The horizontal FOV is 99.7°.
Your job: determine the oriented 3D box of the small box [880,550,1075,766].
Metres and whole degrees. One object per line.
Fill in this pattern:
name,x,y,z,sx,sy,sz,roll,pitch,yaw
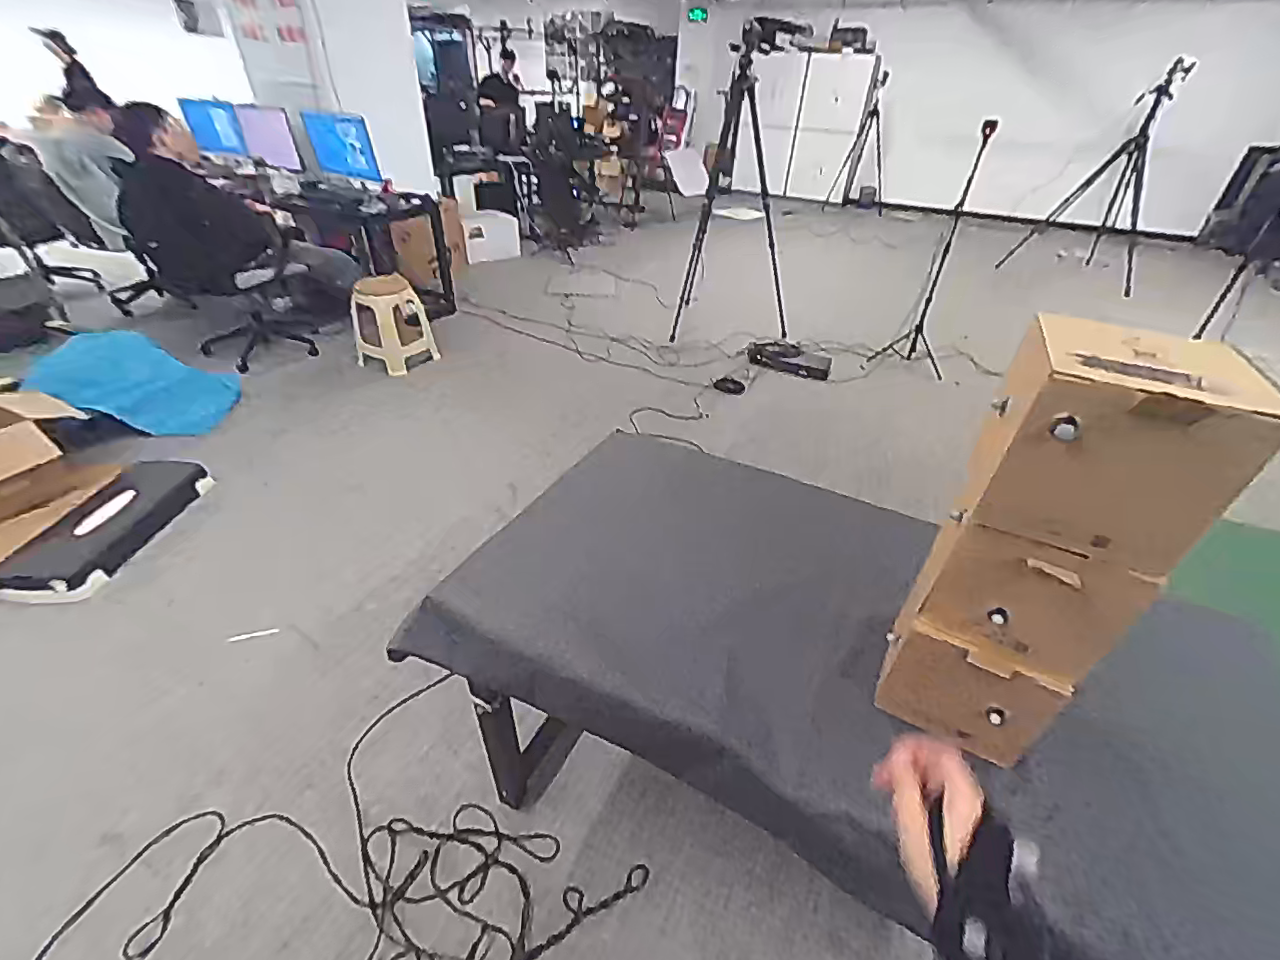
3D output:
small box,0.434,0.231,0.712,0.168,0.176,0.179,22,39,23

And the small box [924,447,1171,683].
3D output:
small box,0.453,0.093,0.628,0.168,0.176,0.179,22,41,24
